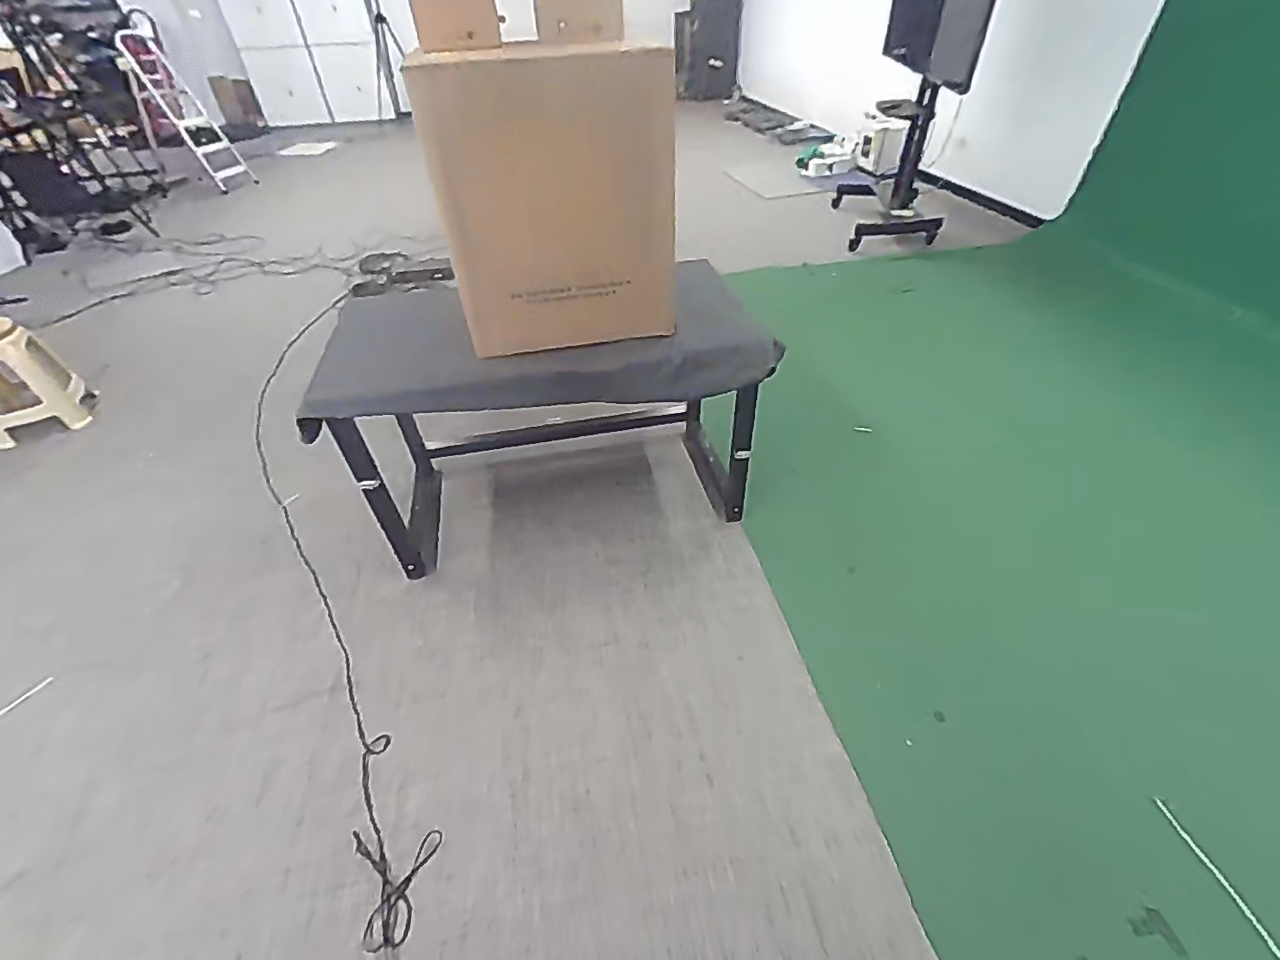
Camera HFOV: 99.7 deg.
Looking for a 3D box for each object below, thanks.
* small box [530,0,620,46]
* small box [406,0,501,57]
[{"bbox_3d":[-0.142,-1.027,1.134,0.168,0.176,0.179,-13,44,-10],"label":"small box"},{"bbox_3d":[-0.387,-0.981,1.106,0.168,0.176,0.179,-11,43,-6],"label":"small box"}]
